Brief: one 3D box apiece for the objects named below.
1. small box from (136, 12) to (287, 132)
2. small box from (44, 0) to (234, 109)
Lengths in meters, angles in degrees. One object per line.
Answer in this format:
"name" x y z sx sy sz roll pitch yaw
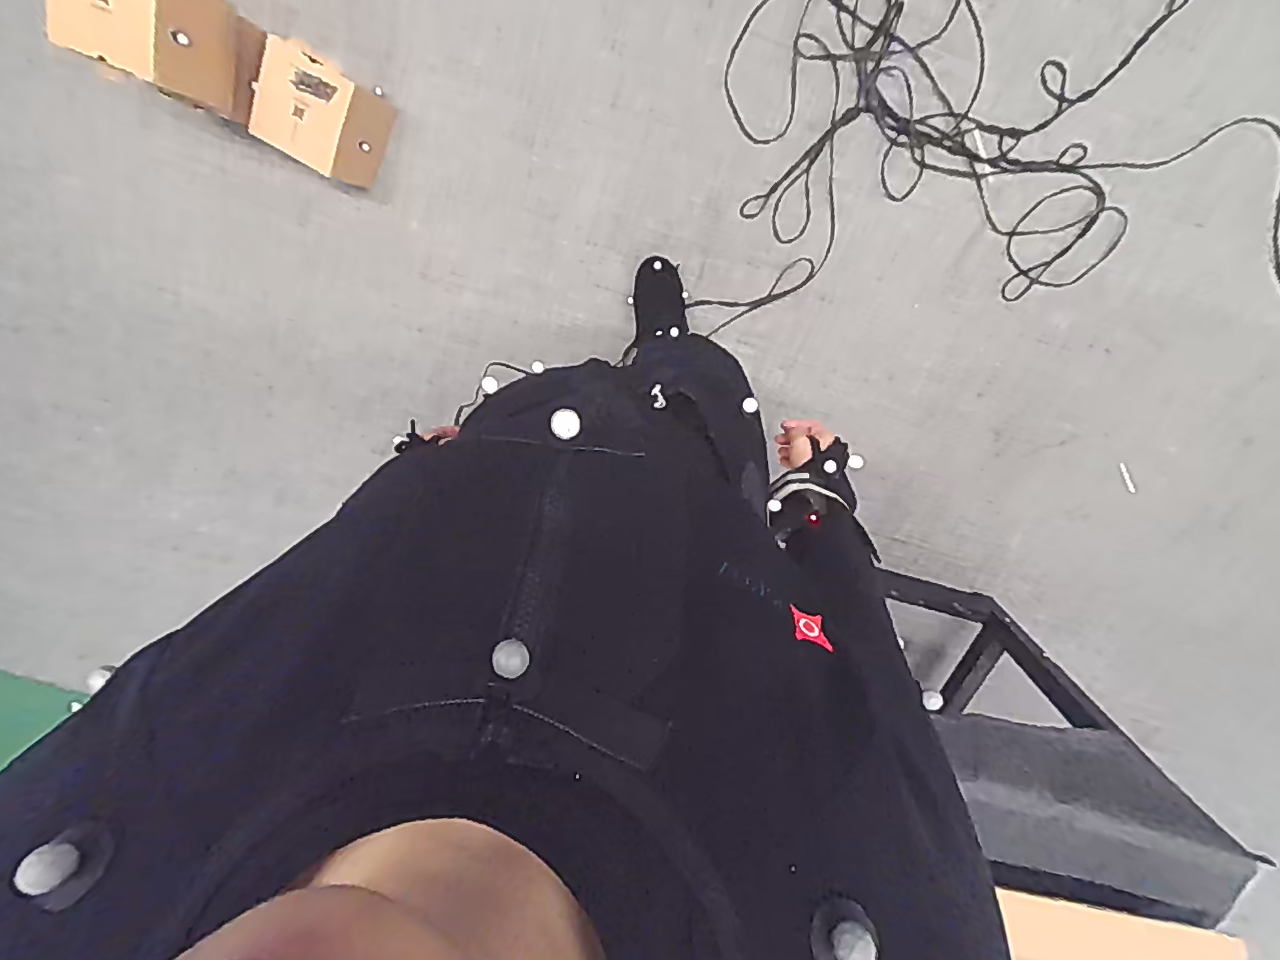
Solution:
"small box" -0.822 -0.809 1.048 0.168 0.176 0.179 20 112 -5
"small box" -0.812 -0.758 0.892 0.168 0.176 0.179 20 111 -6
